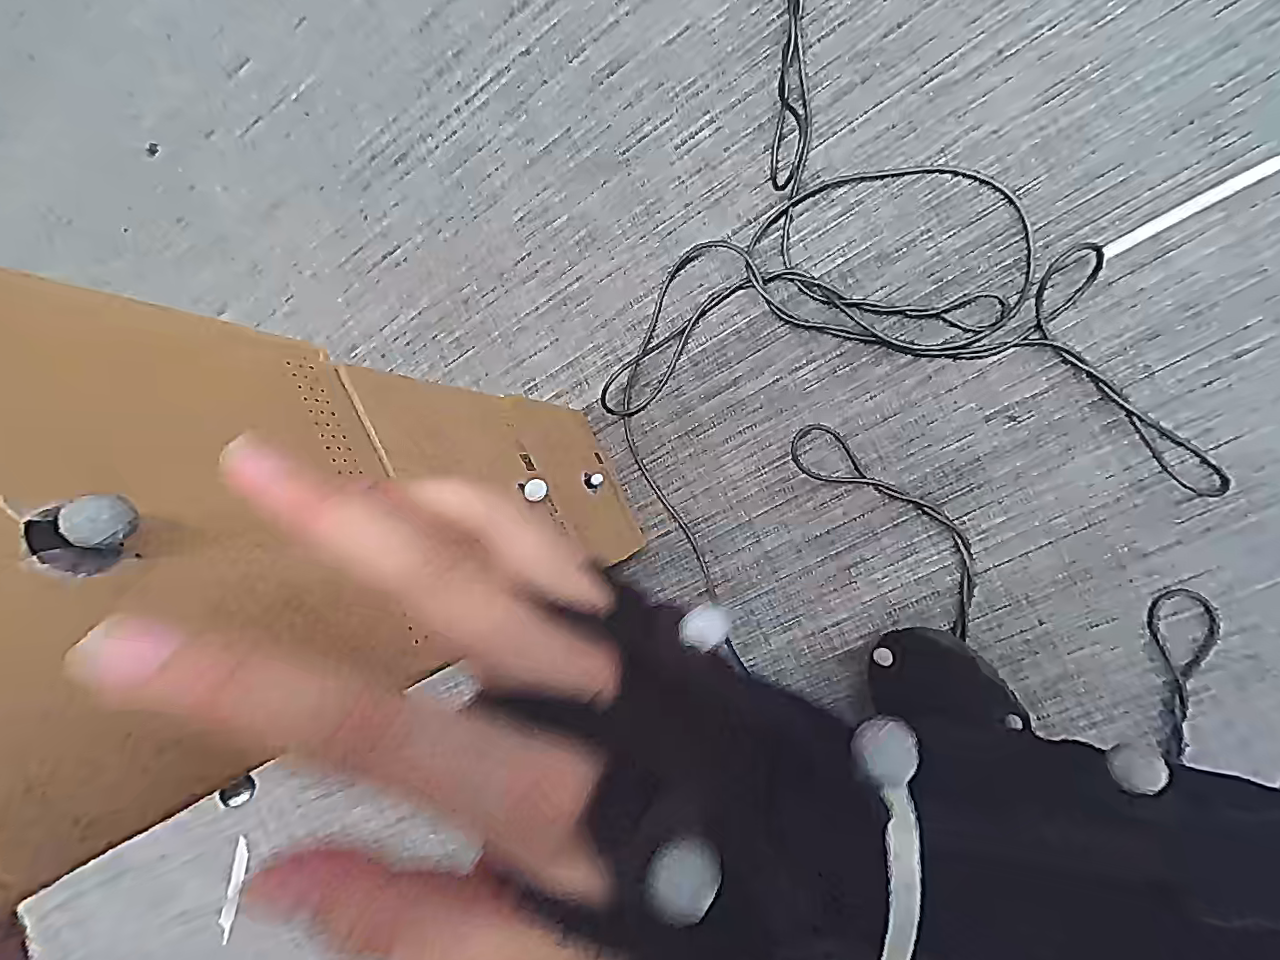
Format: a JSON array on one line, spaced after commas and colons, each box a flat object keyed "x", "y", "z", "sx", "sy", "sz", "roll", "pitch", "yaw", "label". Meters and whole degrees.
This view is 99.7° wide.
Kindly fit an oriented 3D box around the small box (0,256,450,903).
[{"x": -0.211, "y": 0.041, "z": 0.206, "sx": 0.168, "sy": 0.176, "sz": 0.179, "roll": -30, "pitch": 84, "yaw": 14, "label": "small box"}]

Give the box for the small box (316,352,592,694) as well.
[{"x": -0.161, "y": 0.044, "z": 0.361, "sx": 0.179, "sy": 0.176, "sz": 0.168, "roll": -30, "pitch": 84, "yaw": 14, "label": "small box"}]

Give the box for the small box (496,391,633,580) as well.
[{"x": -0.121, "y": 0.034, "z": 0.519, "sx": 0.179, "sy": 0.176, "sz": 0.168, "roll": -28, "pitch": 84, "yaw": 16, "label": "small box"}]
